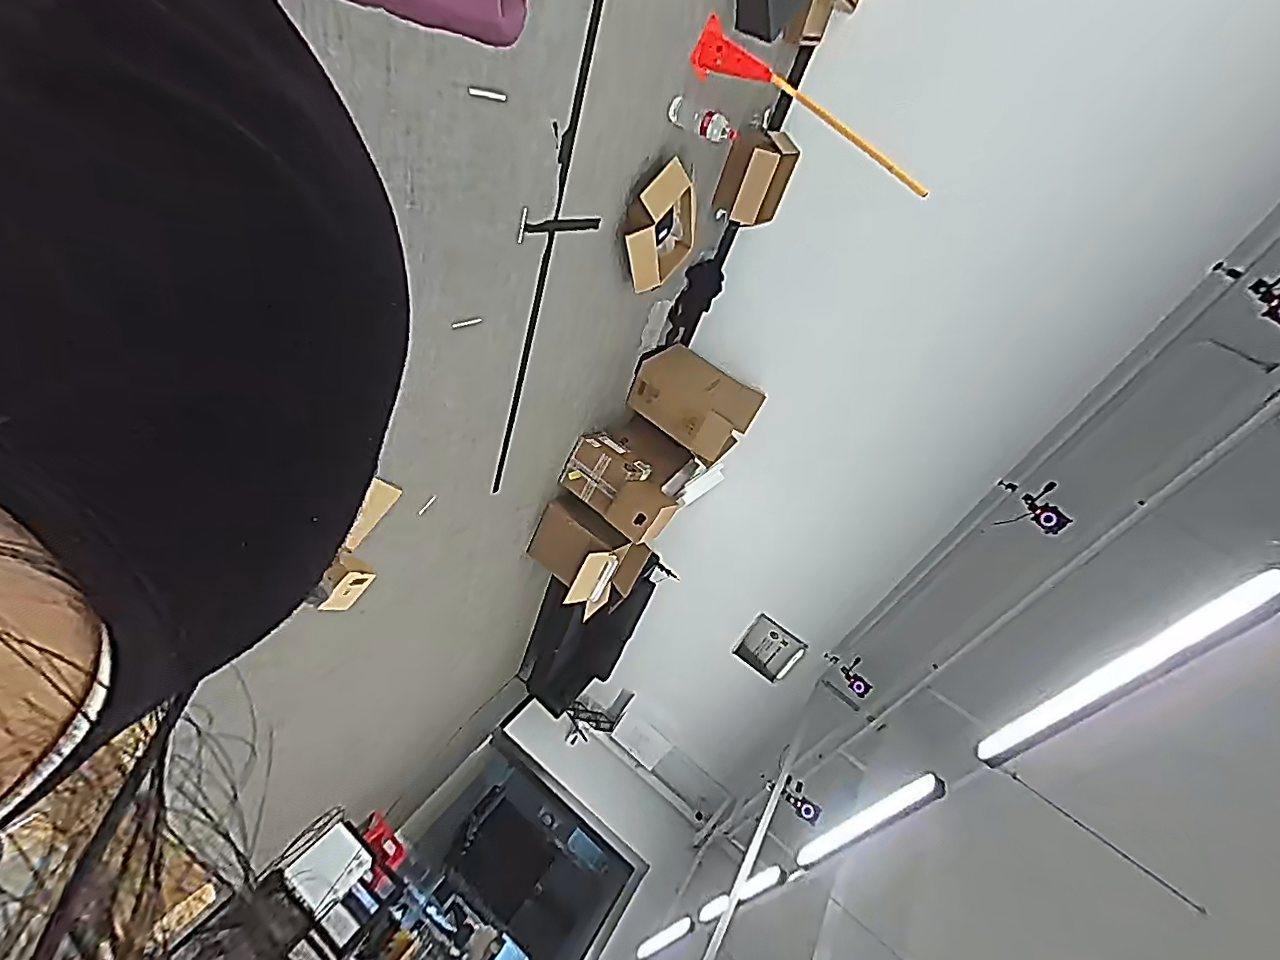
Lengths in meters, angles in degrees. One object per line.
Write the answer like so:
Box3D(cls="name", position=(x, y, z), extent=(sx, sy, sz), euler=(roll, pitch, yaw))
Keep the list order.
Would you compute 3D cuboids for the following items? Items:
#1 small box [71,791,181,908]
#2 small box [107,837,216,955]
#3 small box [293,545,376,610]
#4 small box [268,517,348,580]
Box3D(cls="small box", position=(-1.412, 1.014, 1.491), extent=(0.179, 0.176, 0.168), euler=(-37, 158, -52))
Box3D(cls="small box", position=(-1.286, 1.116, 1.460), extent=(0.168, 0.176, 0.179), euler=(-34, 156, -54))
Box3D(cls="small box", position=(-1.150, 0.365, 2.032), extent=(0.179, 0.176, 0.168), euler=(-51, 164, -6))
Box3D(cls="small box", position=(-1.279, 0.270, 2.074), extent=(0.179, 0.176, 0.168), euler=(-51, 165, -5))
